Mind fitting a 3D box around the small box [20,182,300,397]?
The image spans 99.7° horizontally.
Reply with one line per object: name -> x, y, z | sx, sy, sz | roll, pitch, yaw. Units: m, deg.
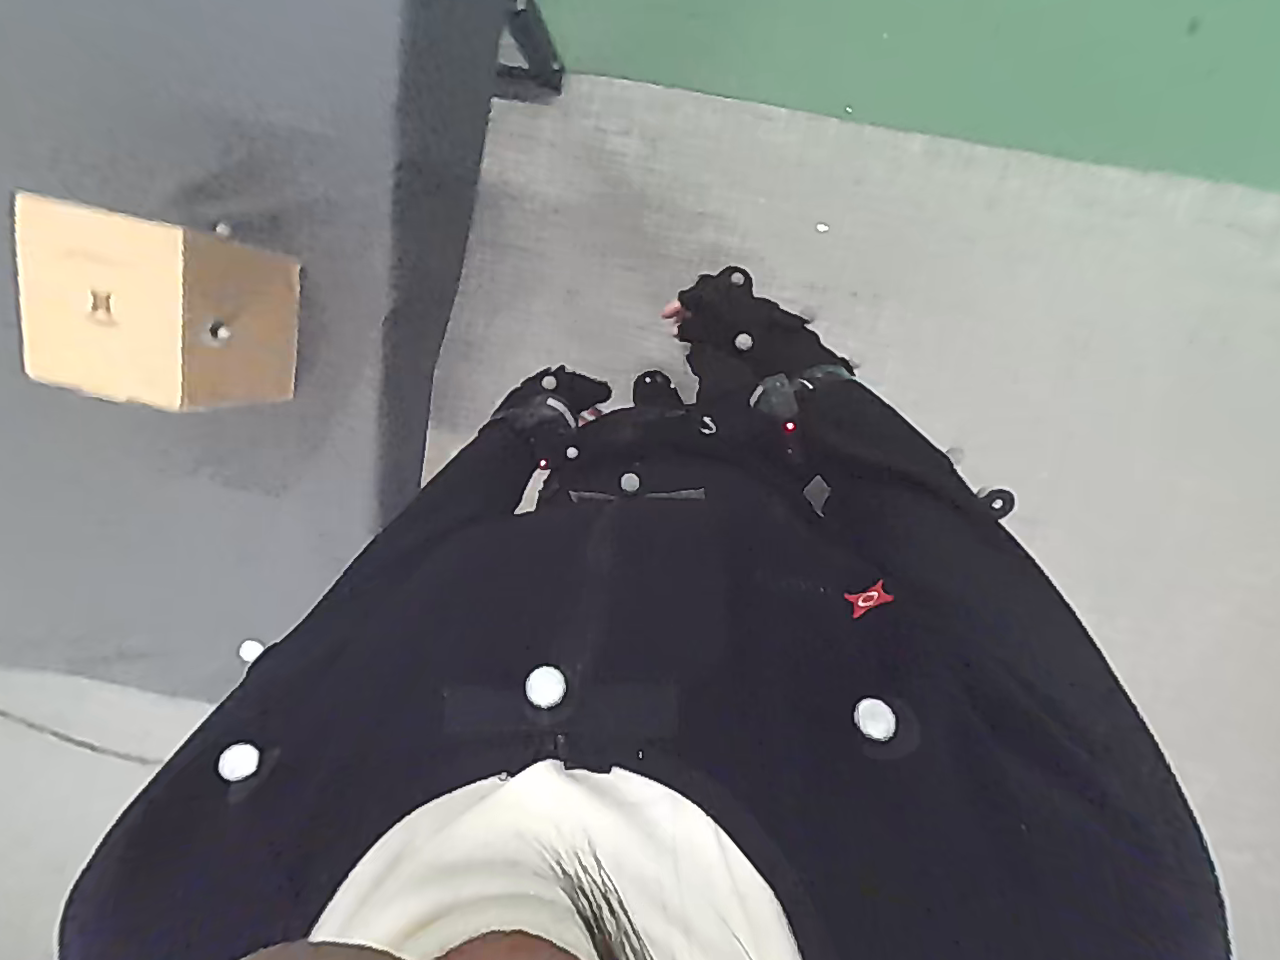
small box -> -0.515, -0.200, 0.605 | 0.168, 0.176, 0.179 | 12, 103, 1
